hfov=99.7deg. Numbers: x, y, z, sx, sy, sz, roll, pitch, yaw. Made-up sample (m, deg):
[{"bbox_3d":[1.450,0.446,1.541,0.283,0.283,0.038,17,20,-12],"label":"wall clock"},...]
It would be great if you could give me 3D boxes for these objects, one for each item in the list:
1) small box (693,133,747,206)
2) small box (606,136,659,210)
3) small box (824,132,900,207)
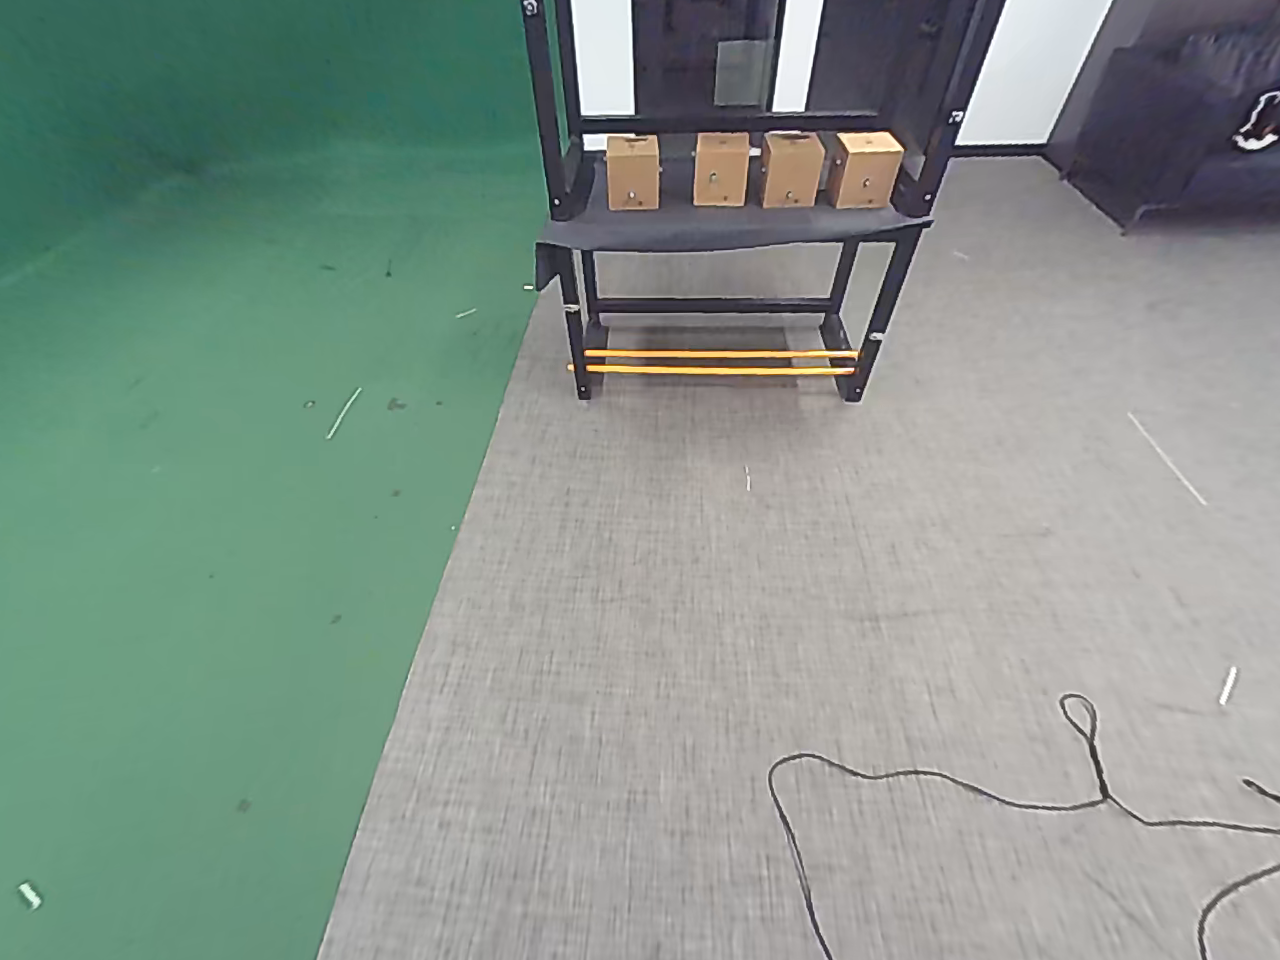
[{"bbox_3d":[0.264,-1.023,1.785,0.168,0.176,0.179,3,49,5],"label":"small box"},{"bbox_3d":[-0.025,-1.008,1.779,0.168,0.176,0.179,-2,49,0],"label":"small box"},{"bbox_3d":[0.709,-0.996,1.741,0.168,0.176,0.179,0,48,1],"label":"small box"}]
